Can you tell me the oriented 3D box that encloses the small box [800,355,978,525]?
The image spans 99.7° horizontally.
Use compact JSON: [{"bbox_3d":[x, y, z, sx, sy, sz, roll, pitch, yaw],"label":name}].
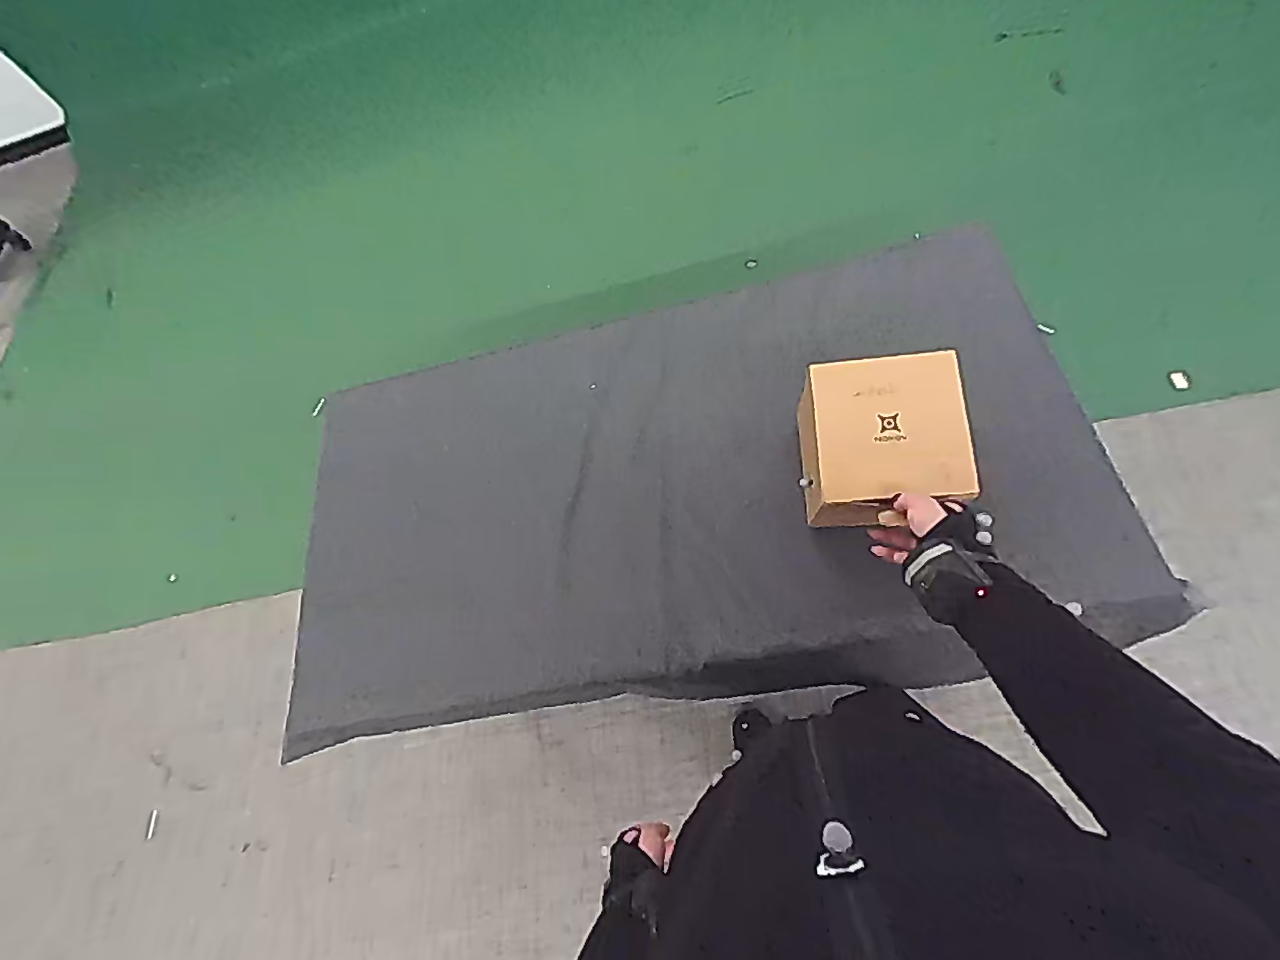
[{"bbox_3d":[0.303,-0.038,0.698,0.168,0.176,0.179,-3,74,10],"label":"small box"}]
